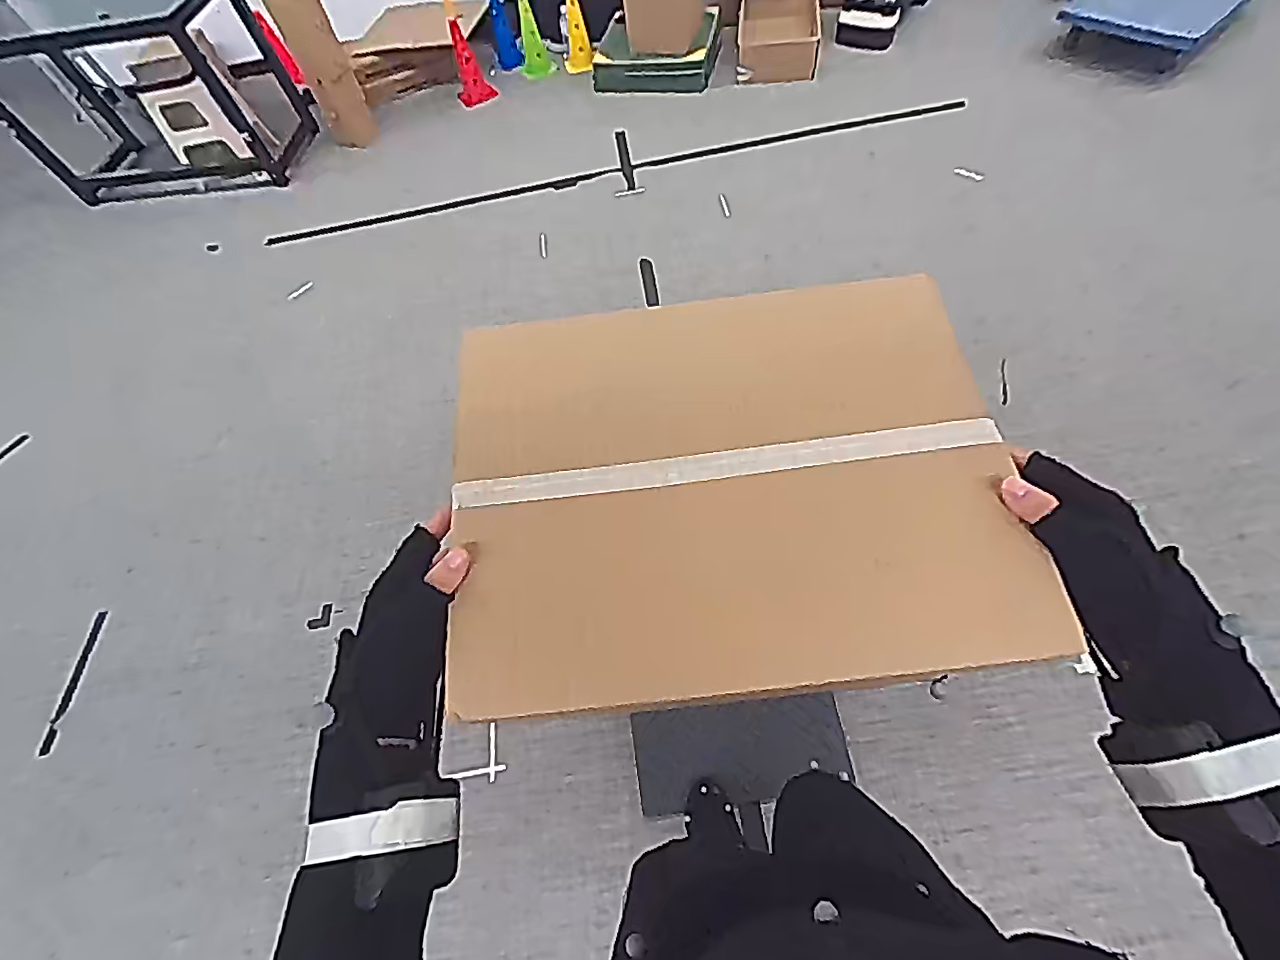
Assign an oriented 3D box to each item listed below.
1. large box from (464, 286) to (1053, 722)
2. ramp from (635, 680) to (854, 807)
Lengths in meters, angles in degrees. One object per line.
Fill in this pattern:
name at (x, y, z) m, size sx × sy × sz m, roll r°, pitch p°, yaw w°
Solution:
large box at (0.073, 0.052, 0.553) m, size 0.408 × 0.320 × 0.320 m, roll -7°, pitch 66°, yaw 1°
ramp at (0.184, 0.258, 1.420) m, size 0.509 × 0.206 × 0.991 m, roll -11°, pitch 60°, yaw 0°
